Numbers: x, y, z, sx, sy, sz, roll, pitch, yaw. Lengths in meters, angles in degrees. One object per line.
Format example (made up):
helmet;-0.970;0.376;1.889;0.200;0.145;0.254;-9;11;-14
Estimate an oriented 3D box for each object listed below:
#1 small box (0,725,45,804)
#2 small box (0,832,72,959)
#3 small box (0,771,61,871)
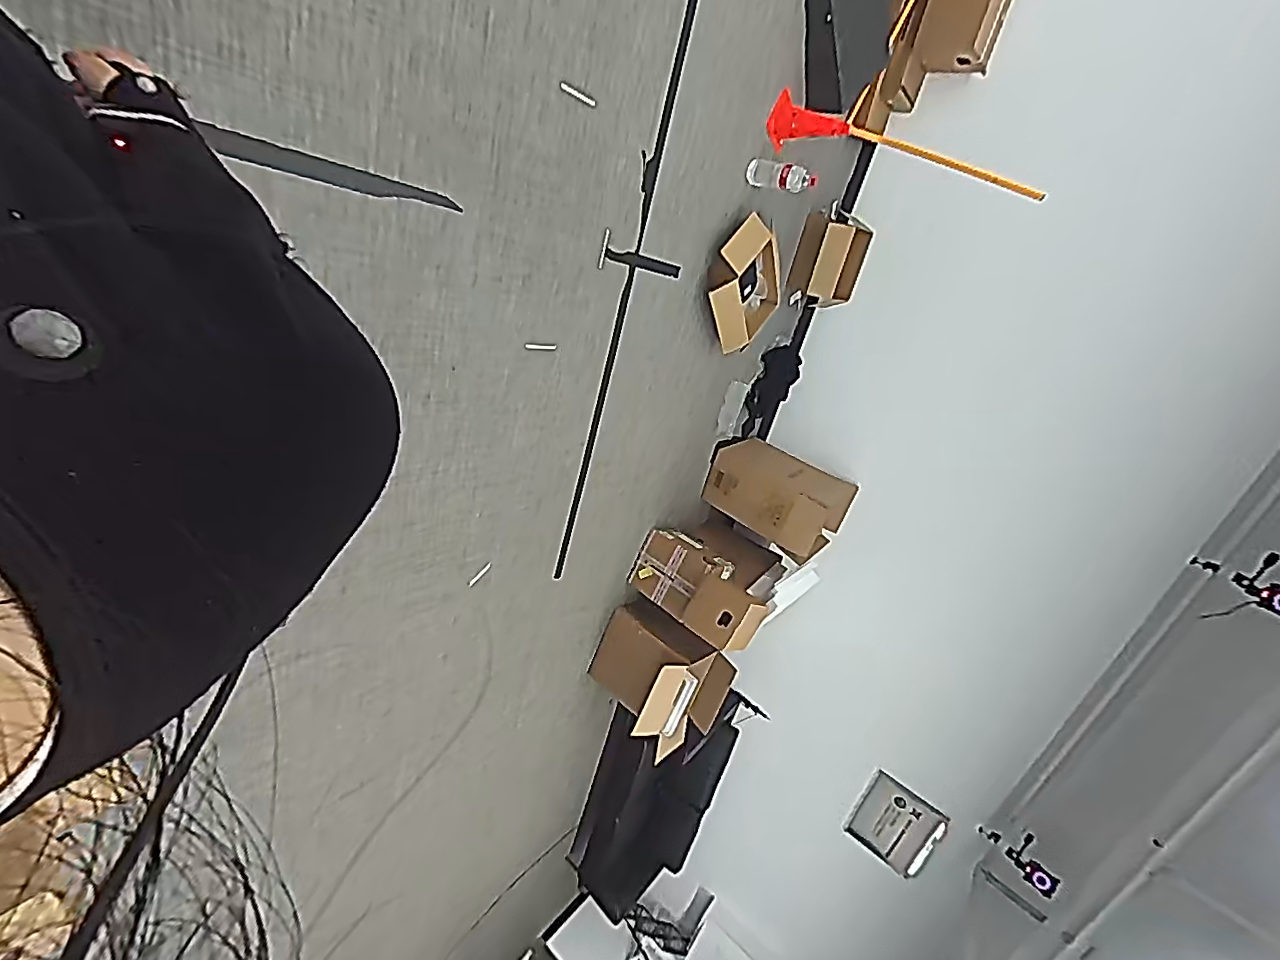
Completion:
small box;-1.470;0.678;1.195;0.168;0.176;0.179;-19;131;-49
small box;-1.229;0.823;1.025;0.168;0.176;0.179;-21;131;-48
small box;-1.347;0.751;1.115;0.168;0.176;0.179;-21;133;-48
